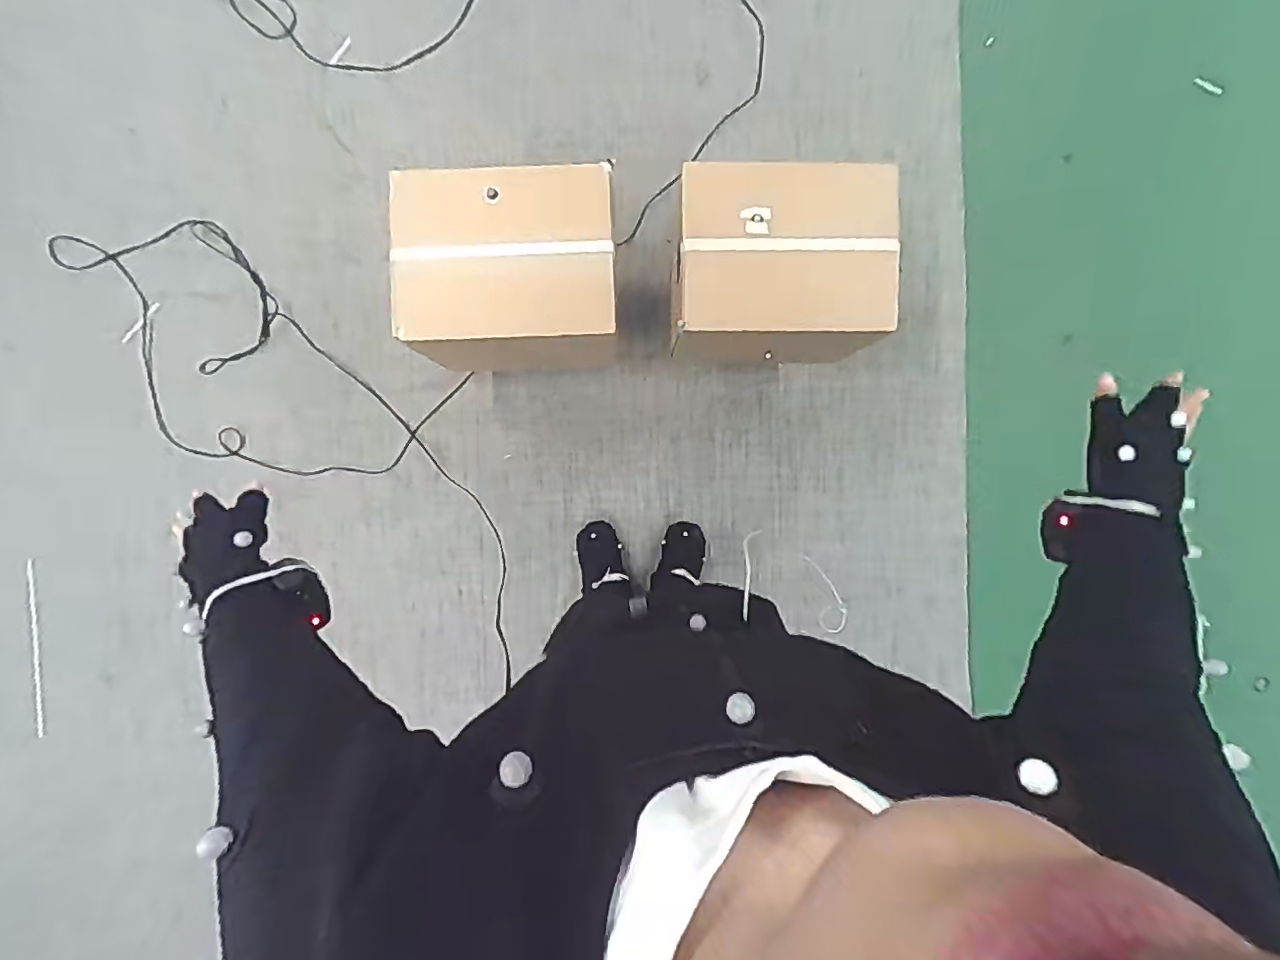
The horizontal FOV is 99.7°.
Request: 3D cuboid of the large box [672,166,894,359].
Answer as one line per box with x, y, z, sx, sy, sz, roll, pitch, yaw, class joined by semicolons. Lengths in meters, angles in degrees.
0.280;-0.439;1.164;0.408;0.320;0.320;0;91;-1;large box
